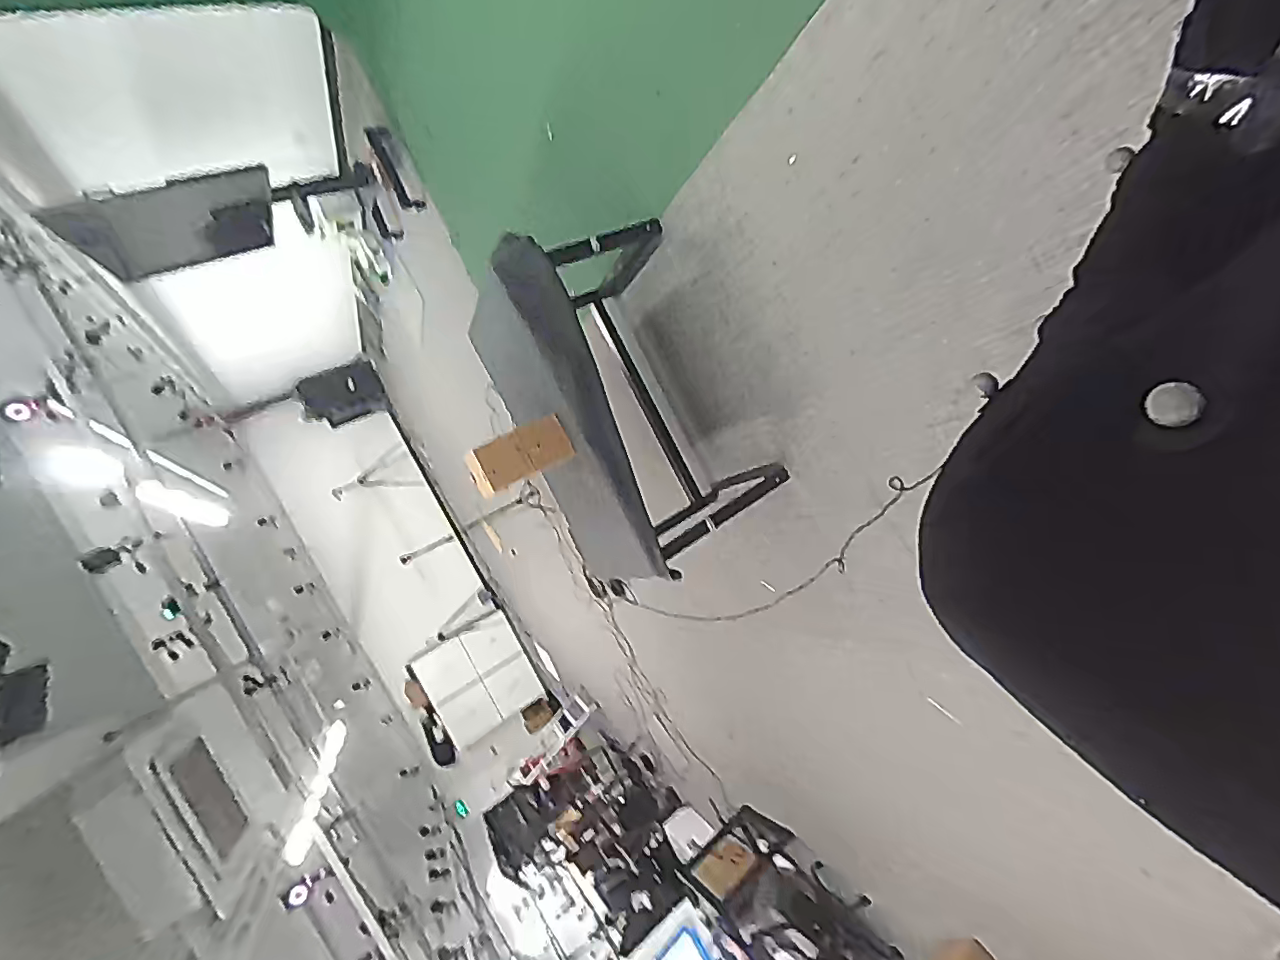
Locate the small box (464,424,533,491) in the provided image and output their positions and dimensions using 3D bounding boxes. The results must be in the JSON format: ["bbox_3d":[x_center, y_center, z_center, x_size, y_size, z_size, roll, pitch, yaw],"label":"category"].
[{"bbox_3d":[-0.499,-0.079,1.912,0.168,0.176,0.179,64,152,-2],"label":"small box"}]

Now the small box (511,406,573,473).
[{"bbox_3d":[-0.370,-0.147,1.982,0.168,0.176,0.179,-19,98,63],"label":"small box"}]
